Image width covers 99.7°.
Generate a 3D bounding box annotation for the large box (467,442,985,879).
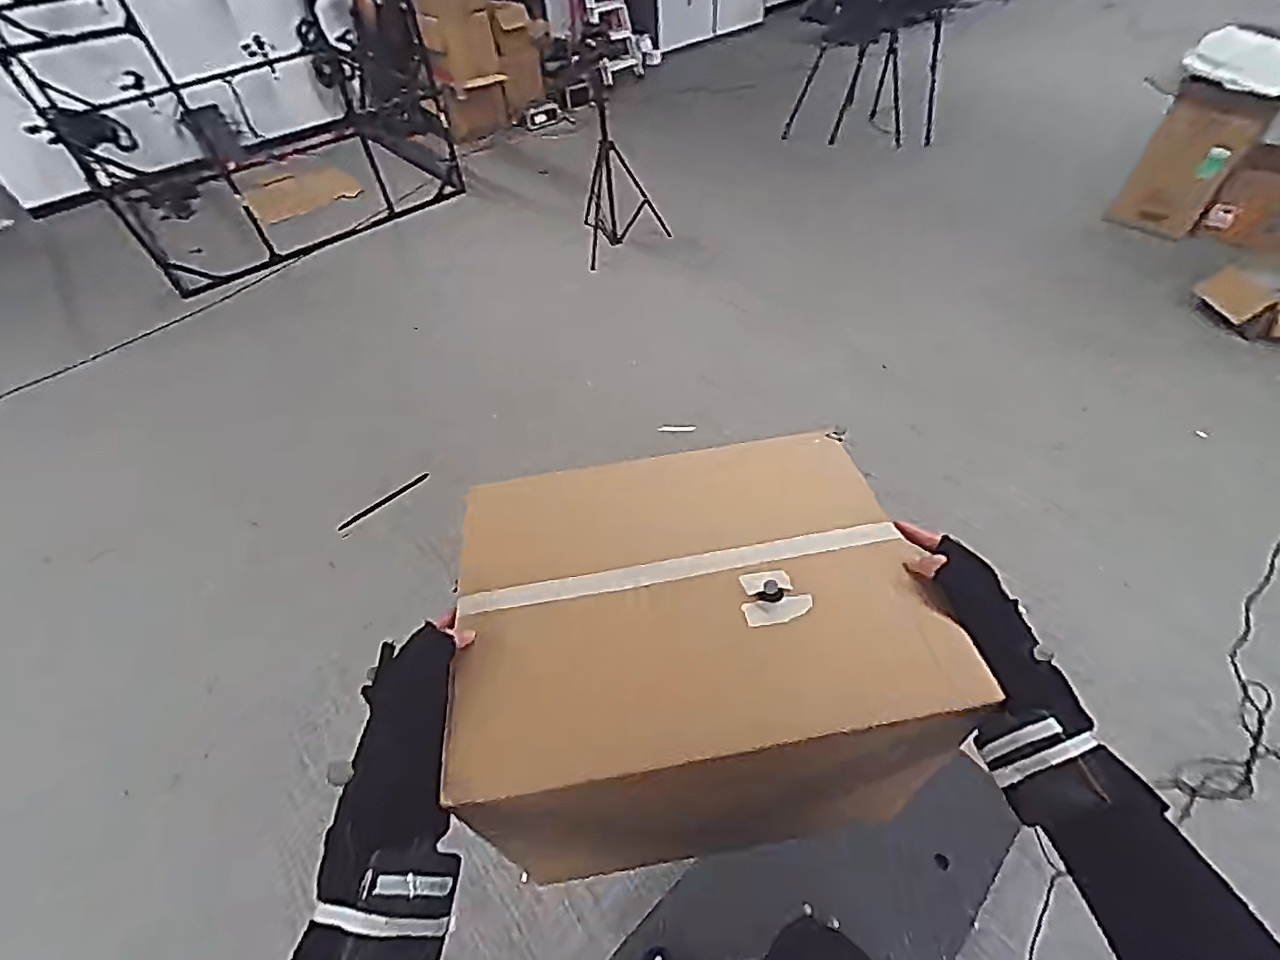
[{"bbox_3d":[0.057,0.196,0.605,0.408,0.320,0.320,-9,45,-3],"label":"large box"}]
